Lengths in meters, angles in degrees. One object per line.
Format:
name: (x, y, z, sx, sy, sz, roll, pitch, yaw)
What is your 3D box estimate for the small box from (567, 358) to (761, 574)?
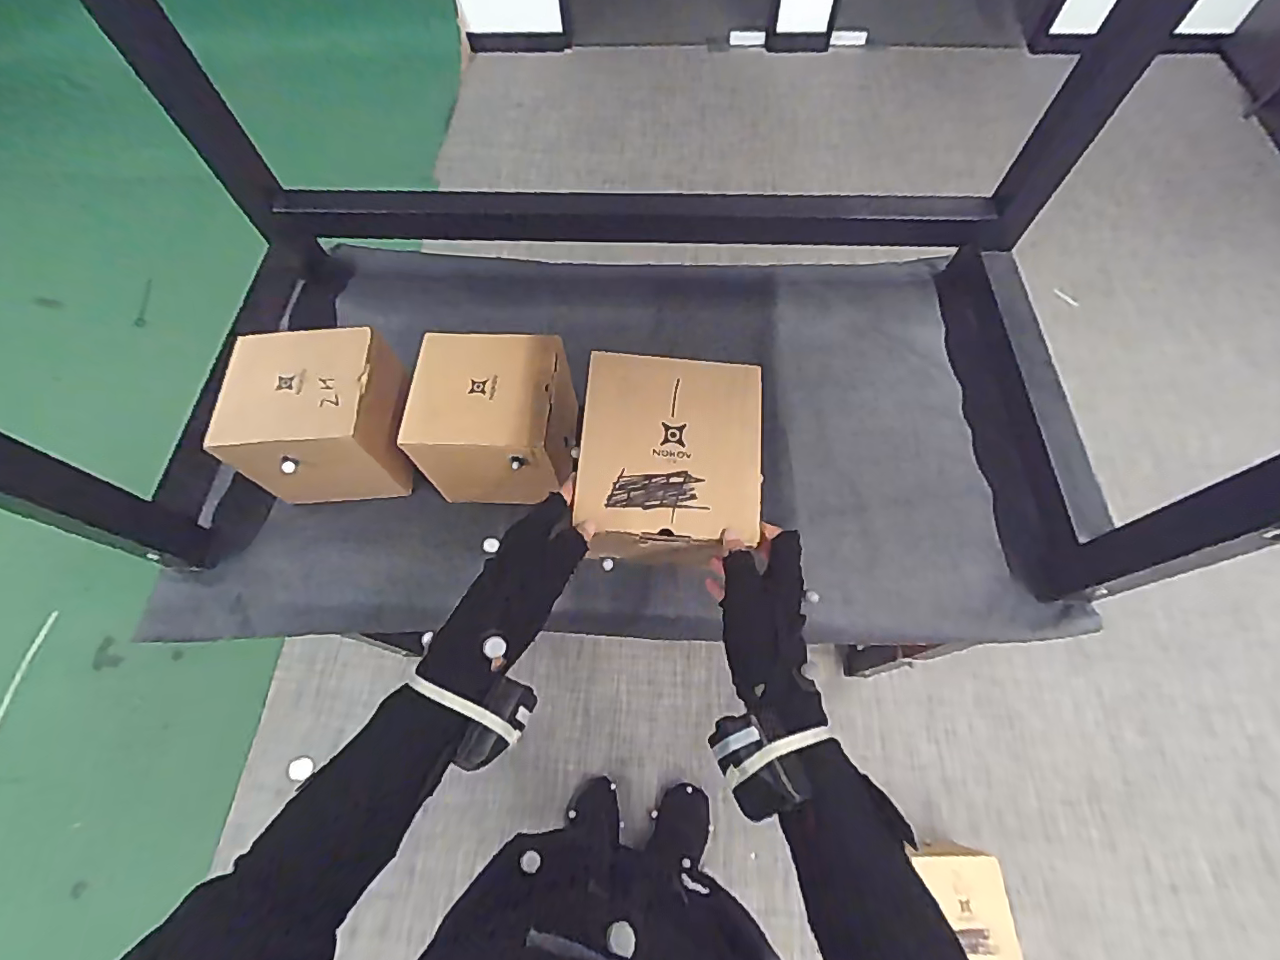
small box: (0.023, -0.003, 0.562, 0.168, 0.176, 0.179, 6, 72, -1)
